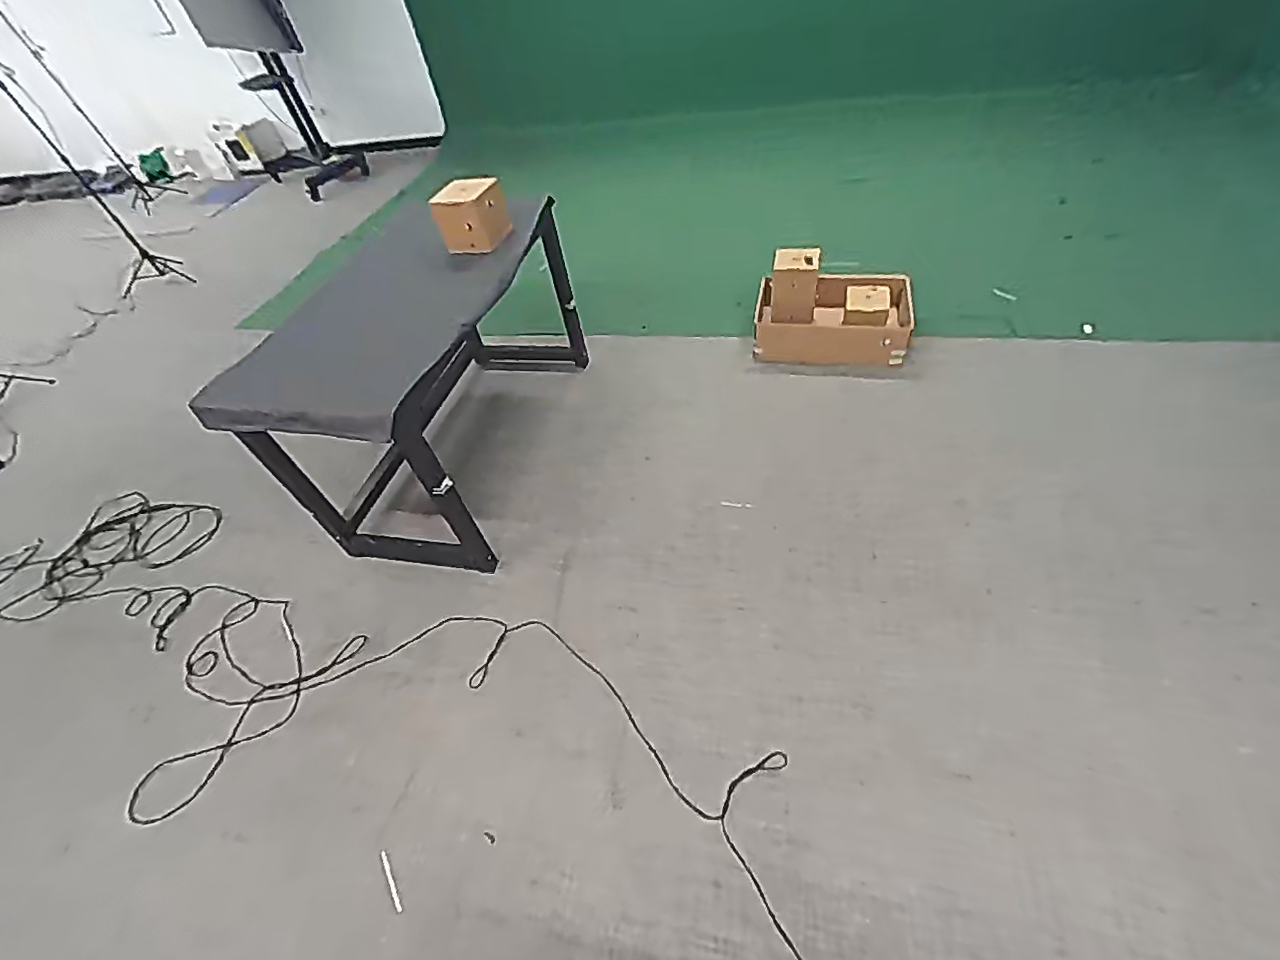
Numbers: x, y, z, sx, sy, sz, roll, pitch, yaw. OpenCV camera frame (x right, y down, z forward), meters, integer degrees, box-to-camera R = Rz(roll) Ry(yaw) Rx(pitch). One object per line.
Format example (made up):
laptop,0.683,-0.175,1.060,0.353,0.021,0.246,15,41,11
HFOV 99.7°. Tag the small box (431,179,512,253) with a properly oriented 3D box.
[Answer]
small box,-0.544,-0.864,1.775,0.168,0.176,0.179,7,50,16

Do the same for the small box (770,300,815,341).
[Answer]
small box,0.663,-0.723,2.354,0.179,0.176,0.168,7,51,14

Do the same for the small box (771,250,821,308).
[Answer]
small box,0.642,-0.827,2.228,0.179,0.176,0.168,6,50,15

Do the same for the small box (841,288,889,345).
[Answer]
small box,0.946,-0.686,2.276,0.168,0.176,0.179,7,52,16
